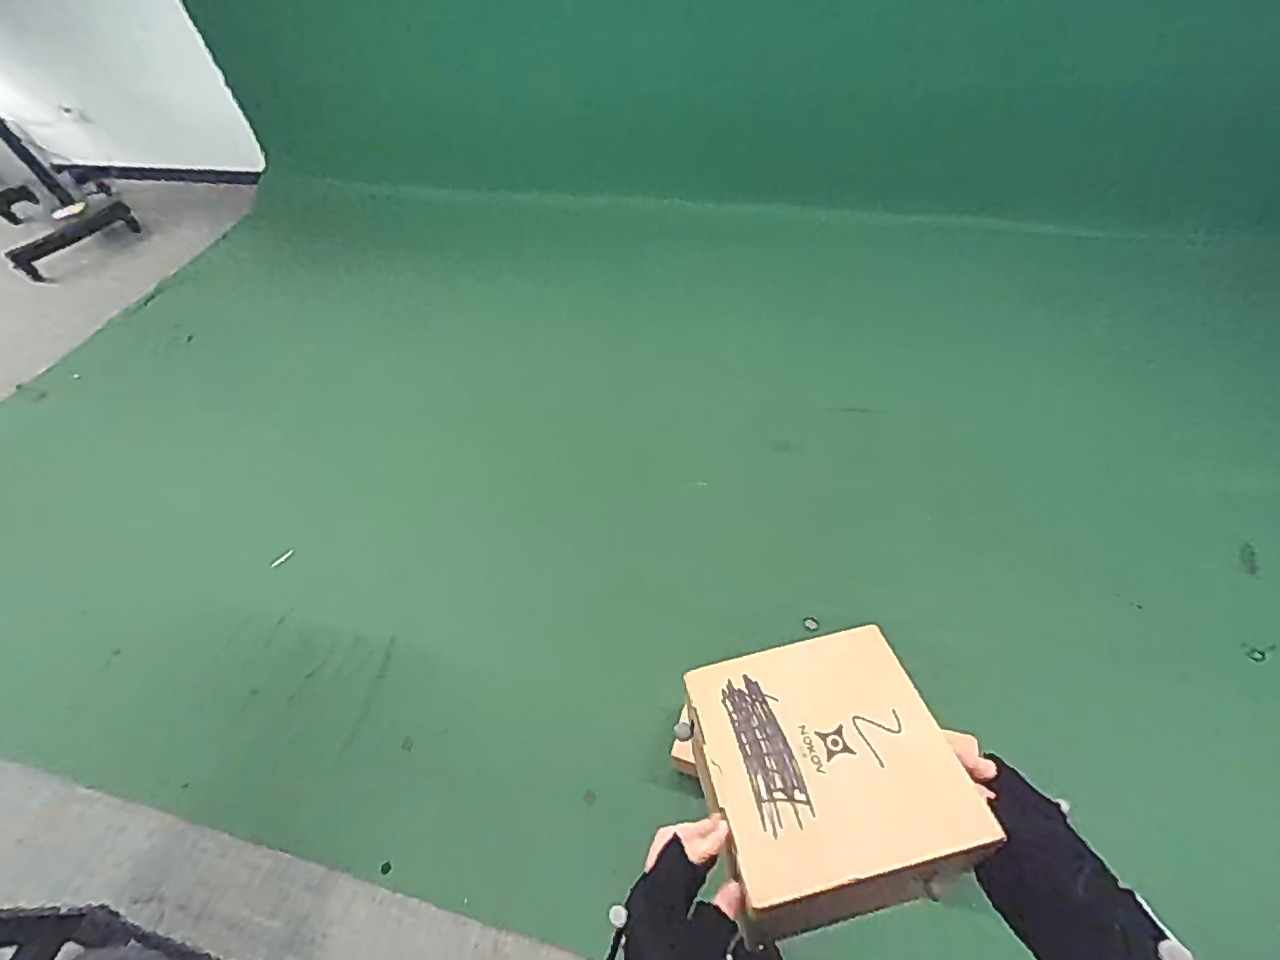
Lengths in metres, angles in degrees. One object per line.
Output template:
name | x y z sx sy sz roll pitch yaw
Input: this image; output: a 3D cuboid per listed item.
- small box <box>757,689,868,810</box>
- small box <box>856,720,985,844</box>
small box | 0.347 0.554 1.105 0.179 0.176 0.168 13 56 16
small box | 0.538 0.594 1.057 0.179 0.176 0.168 10 54 12
